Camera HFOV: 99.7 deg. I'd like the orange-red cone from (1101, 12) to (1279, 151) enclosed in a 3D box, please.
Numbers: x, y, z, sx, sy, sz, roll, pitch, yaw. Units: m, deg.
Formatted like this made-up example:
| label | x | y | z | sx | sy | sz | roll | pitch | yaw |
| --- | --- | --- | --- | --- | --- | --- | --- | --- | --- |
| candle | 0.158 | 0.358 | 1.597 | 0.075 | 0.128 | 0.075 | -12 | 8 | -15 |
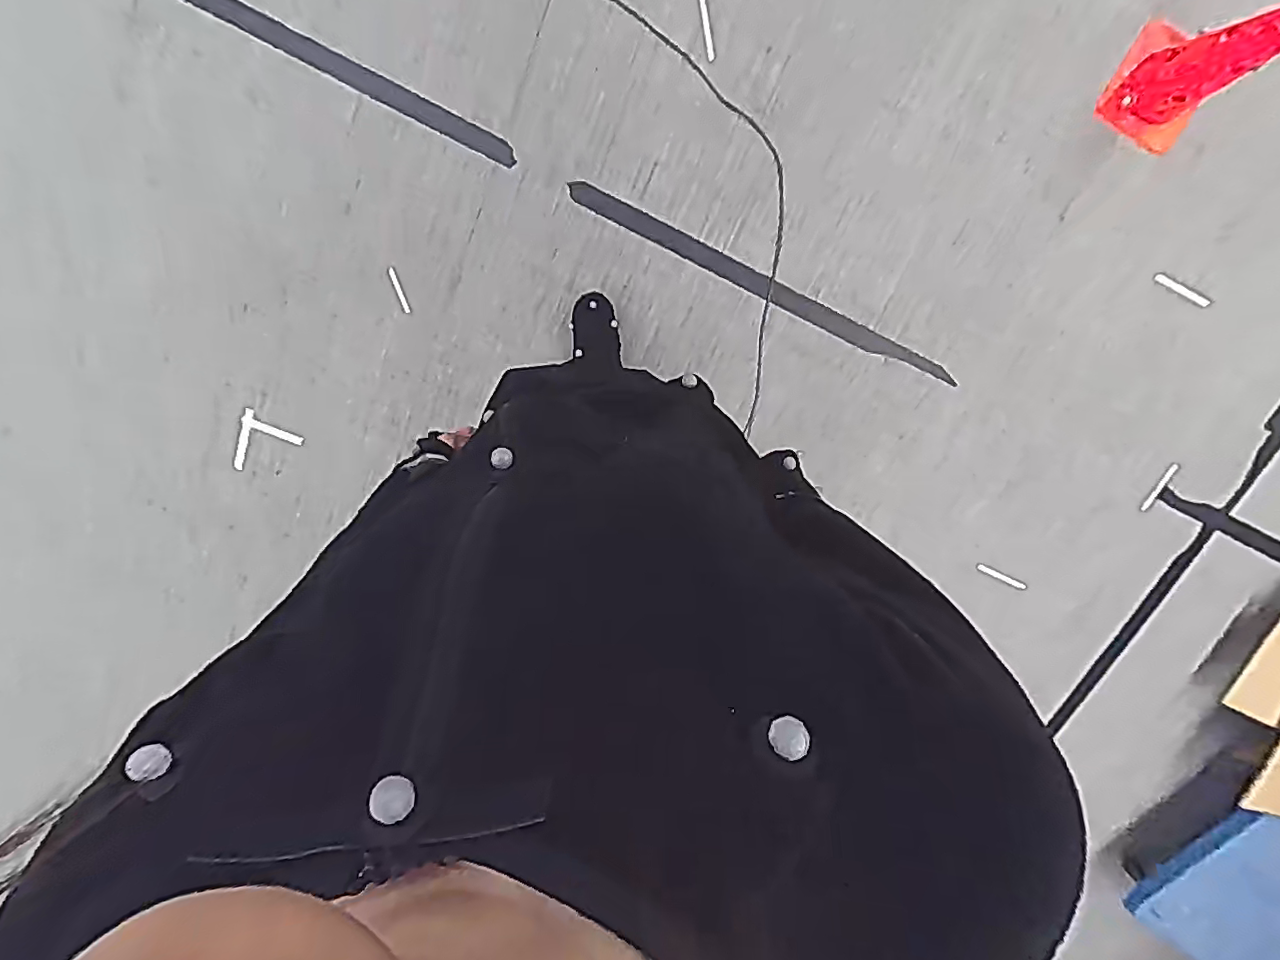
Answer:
| label | x | y | z | sx | sy | sz | roll | pitch | yaw |
| --- | --- | --- | --- | --- | --- | --- | --- | --- | --- |
| orange-red cone | 1.115 | -0.795 | 0.991 | 0.199 | 0.360 | 0.198 | 27 | 105 | -8 |
